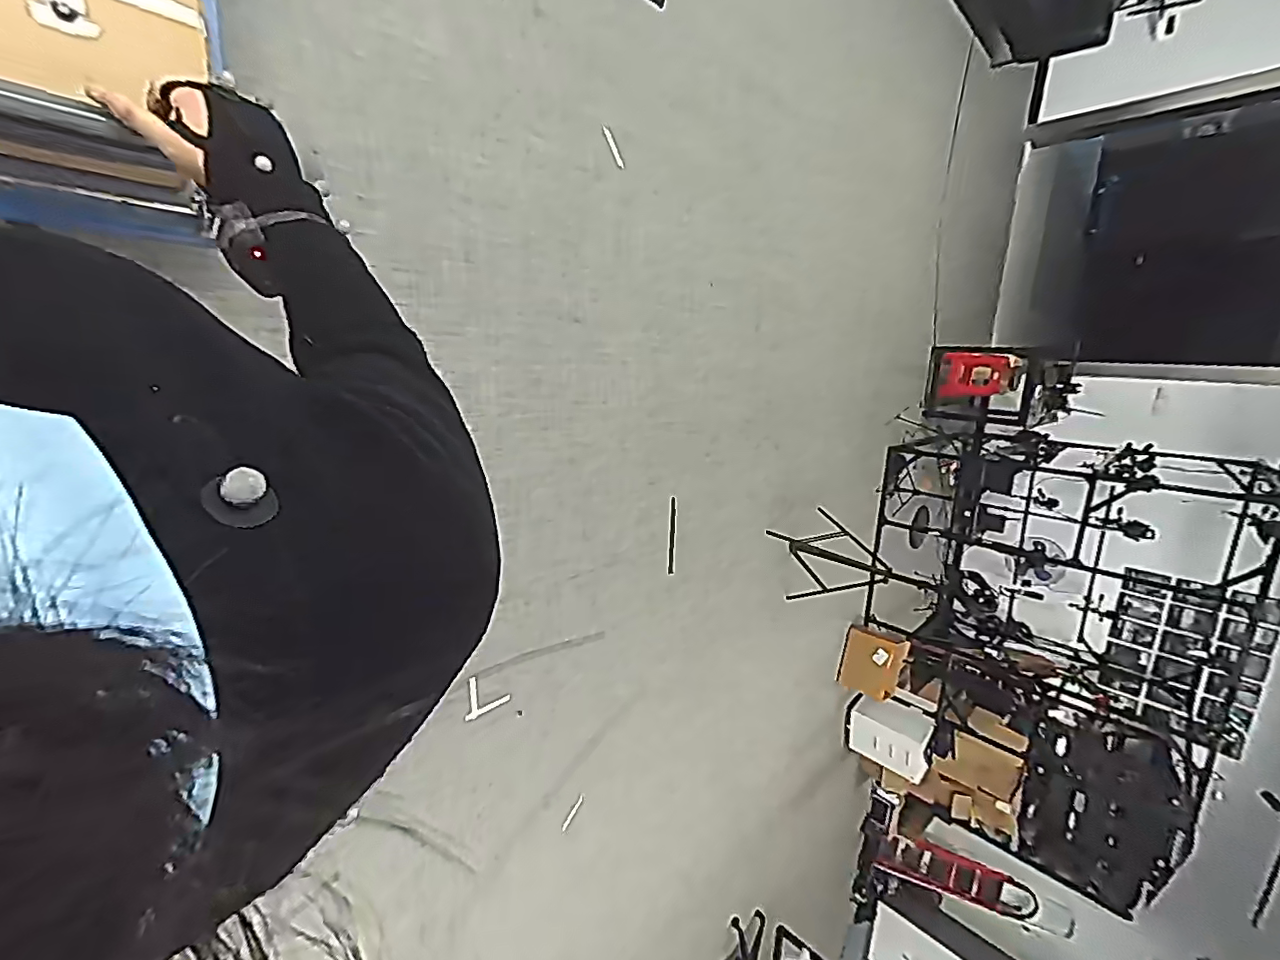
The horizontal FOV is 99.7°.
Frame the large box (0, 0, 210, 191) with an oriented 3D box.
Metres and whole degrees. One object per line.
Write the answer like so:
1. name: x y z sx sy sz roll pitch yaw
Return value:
1. large box: -0.853 -0.612 0.697 0.408 0.320 0.320 -10 108 -46
